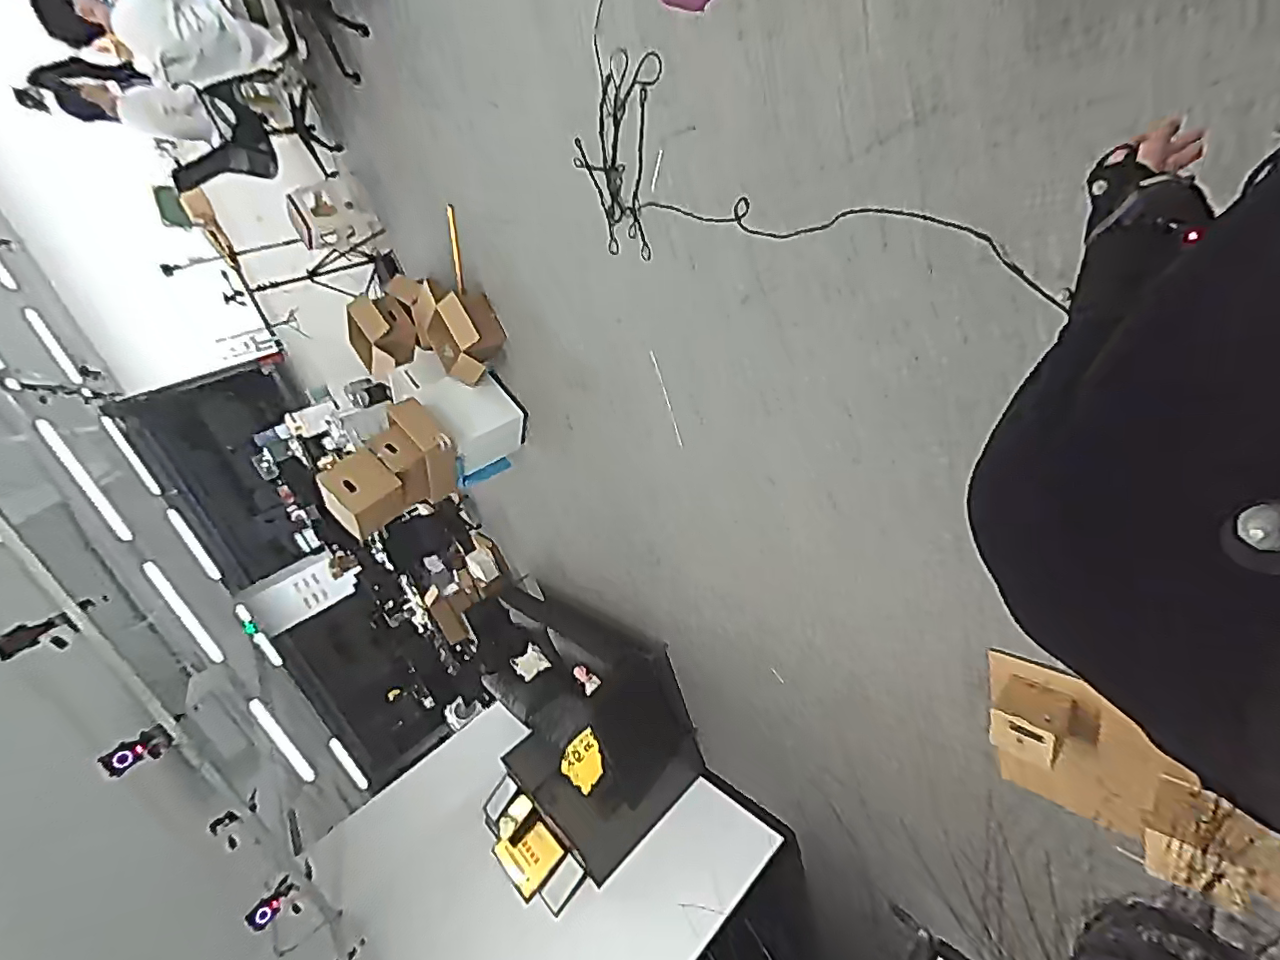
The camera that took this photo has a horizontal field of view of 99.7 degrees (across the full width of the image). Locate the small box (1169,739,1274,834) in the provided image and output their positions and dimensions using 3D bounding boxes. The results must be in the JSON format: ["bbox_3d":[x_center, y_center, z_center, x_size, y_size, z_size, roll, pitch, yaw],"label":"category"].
[{"bbox_3d":[1.474,0.803,1.374,0.168,0.176,0.179,7,124,52],"label":"small box"}]

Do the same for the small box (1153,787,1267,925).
[{"bbox_3d":[1.357,0.884,1.290,0.168,0.176,0.179,9,124,53],"label":"small box"}]
